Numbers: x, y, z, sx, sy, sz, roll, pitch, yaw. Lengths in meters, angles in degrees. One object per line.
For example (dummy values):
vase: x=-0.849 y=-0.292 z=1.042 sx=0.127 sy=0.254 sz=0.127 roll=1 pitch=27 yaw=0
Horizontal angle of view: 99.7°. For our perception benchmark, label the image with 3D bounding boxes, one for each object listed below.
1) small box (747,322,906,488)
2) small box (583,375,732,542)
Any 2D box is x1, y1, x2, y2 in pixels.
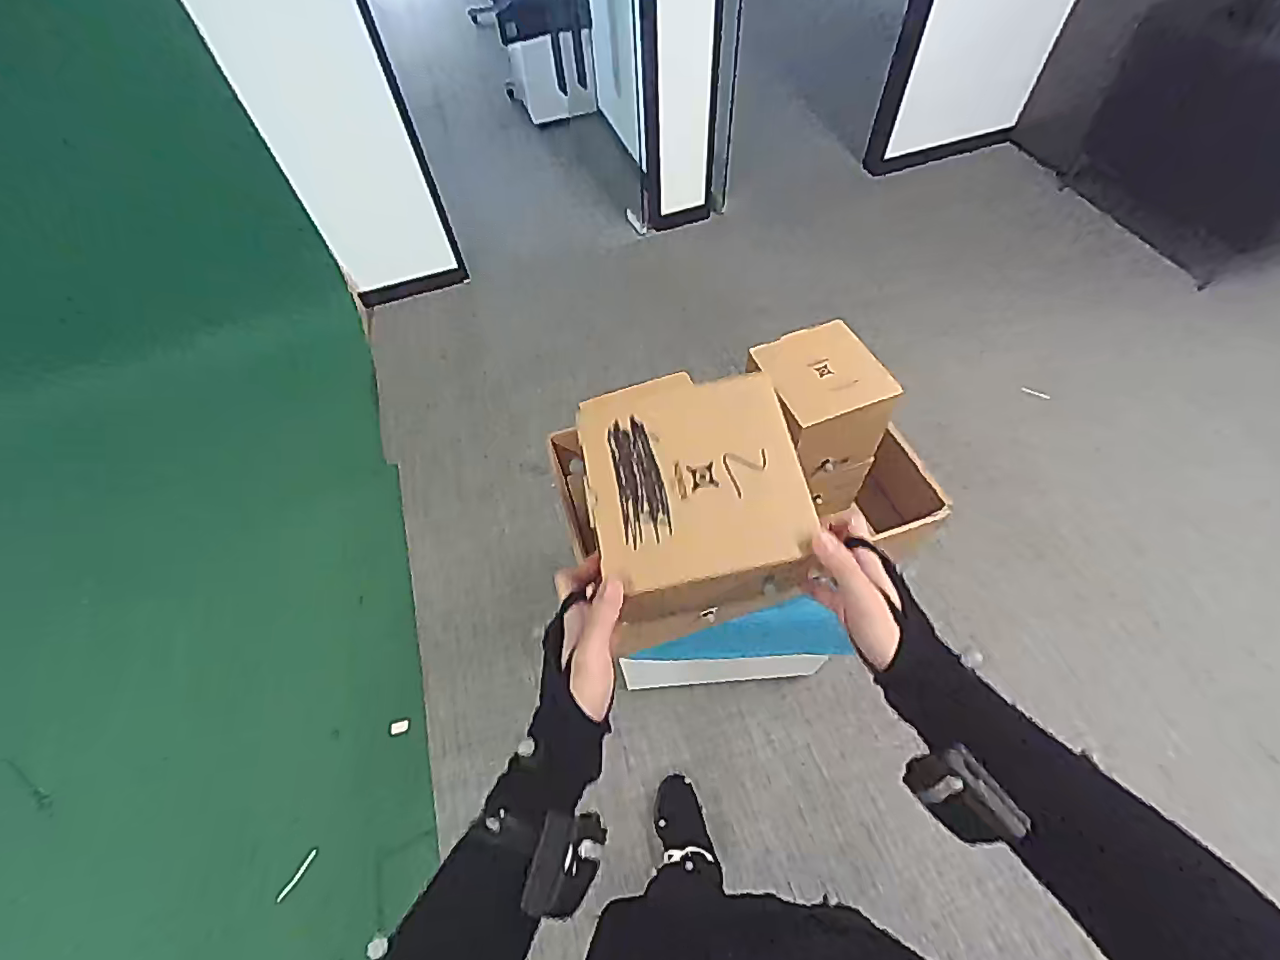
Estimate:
small box: x=0.285 y=-0.118 z=0.876 sx=0.168 sy=0.176 sz=0.179 roll=-19 pitch=57 yaw=-6
small box: x=0.026 y=-0.028 z=0.835 sx=0.179 sy=0.176 sz=0.168 roll=-18 pitch=57 yaw=-8
